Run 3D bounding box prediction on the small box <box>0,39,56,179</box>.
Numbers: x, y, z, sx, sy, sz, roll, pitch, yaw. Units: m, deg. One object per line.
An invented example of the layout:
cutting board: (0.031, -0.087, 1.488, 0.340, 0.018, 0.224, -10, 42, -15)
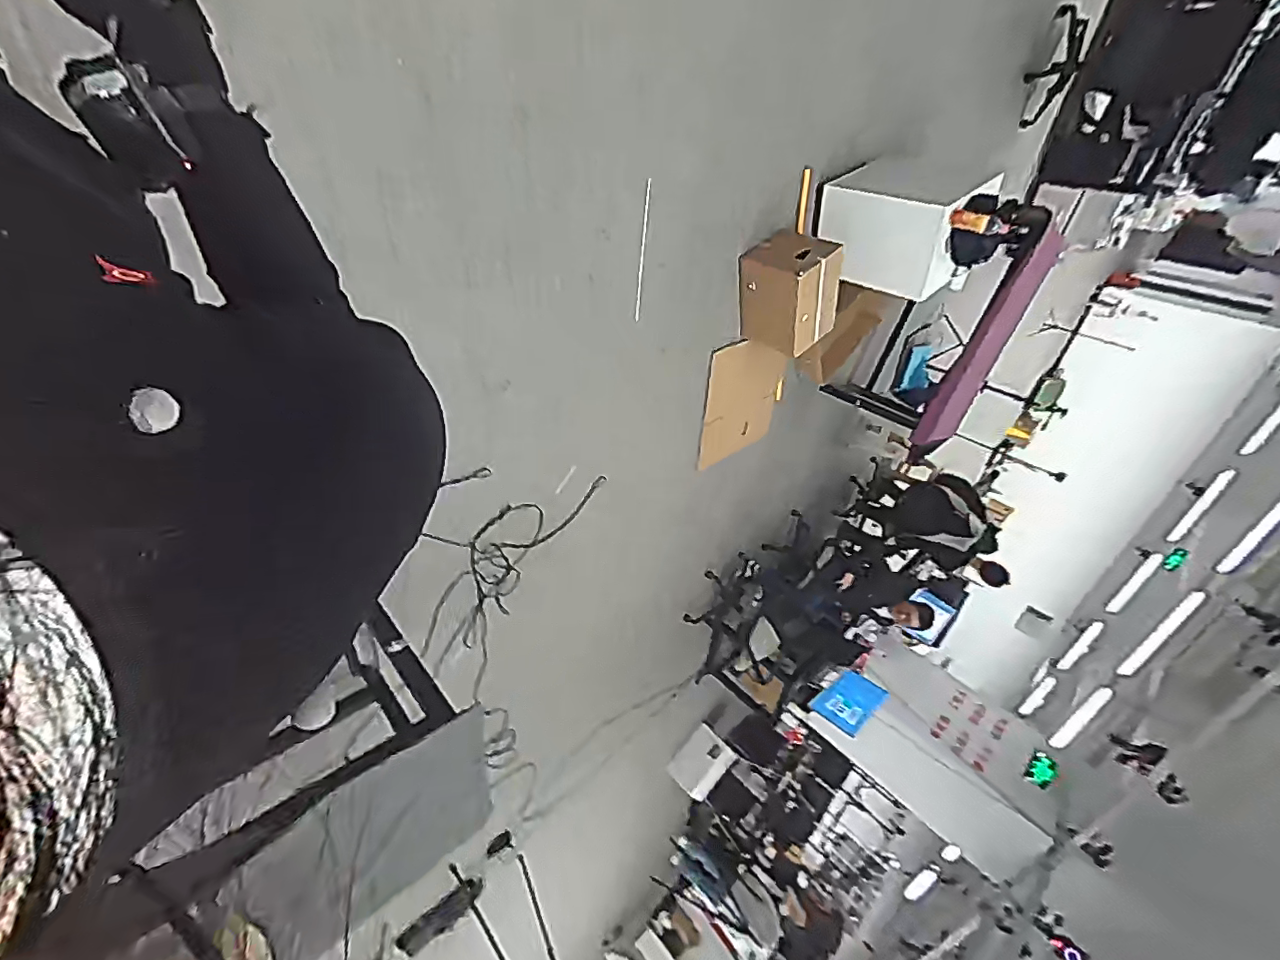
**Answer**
small box: (-1.021, -0.569, 0.792, 0.168, 0.176, 0.179, 41, 59, -30)
